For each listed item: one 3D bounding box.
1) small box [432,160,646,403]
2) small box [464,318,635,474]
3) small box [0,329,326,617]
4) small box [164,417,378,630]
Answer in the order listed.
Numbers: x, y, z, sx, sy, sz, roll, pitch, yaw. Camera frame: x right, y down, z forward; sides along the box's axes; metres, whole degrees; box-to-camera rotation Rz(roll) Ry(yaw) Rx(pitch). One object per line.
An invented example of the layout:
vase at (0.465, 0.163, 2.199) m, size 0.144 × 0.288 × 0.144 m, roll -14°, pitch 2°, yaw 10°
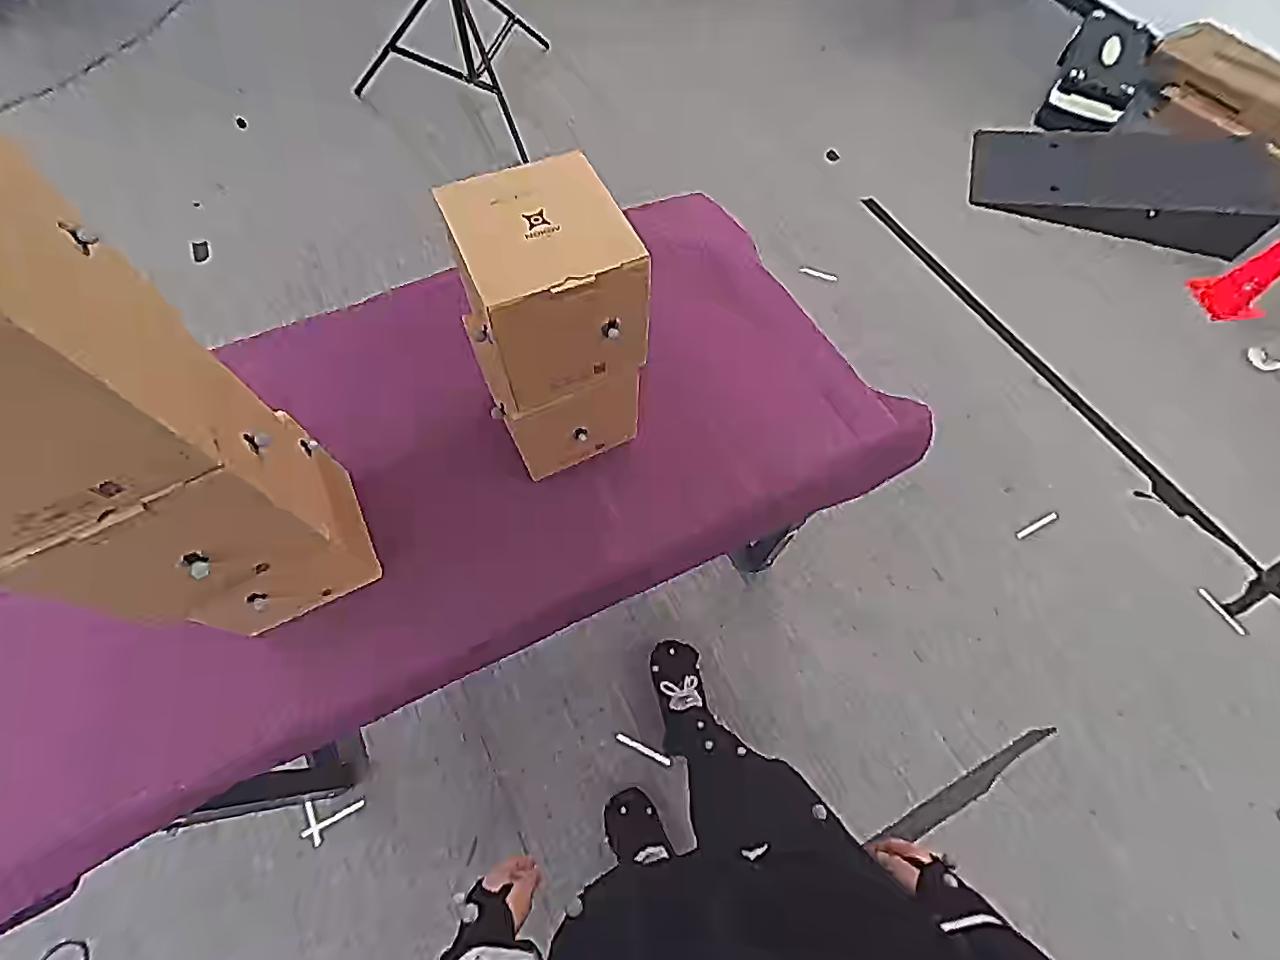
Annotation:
small box at (-0.103, -0.207, 0.601) m, size 0.168 × 0.176 × 0.179 m, roll -23°, pitch 66°, yaw -13°
small box at (-0.116, -0.129, 0.743) m, size 0.168 × 0.176 × 0.179 m, roll -25°, pitch 67°, yaw -13°
small box at (-0.424, 0.007, 0.489) m, size 0.168 × 0.176 × 0.179 m, roll -30°, pitch 69°, yaw -15°
small box at (-0.442, 0.063, 0.643) m, size 0.168 × 0.176 × 0.179 m, roll -25°, pitch 67°, yaw -13°
